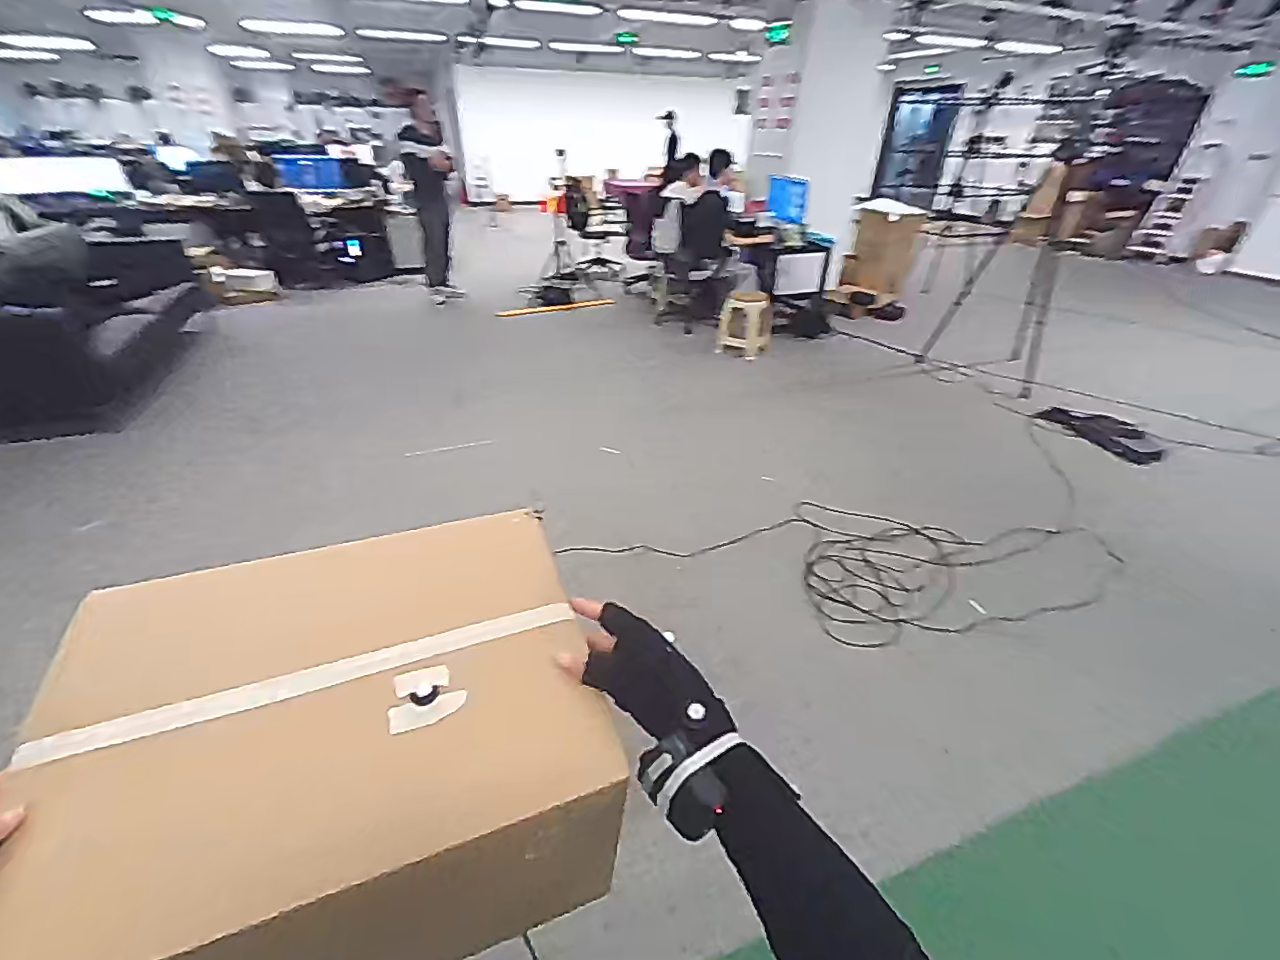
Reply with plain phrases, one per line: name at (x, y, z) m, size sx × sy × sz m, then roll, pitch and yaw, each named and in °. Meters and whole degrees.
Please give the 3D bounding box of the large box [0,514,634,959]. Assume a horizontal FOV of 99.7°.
large box at (-0.254, 0.283, 0.559) m, size 0.408 × 0.320 × 0.320 m, roll -11°, pitch 43°, yaw -20°
